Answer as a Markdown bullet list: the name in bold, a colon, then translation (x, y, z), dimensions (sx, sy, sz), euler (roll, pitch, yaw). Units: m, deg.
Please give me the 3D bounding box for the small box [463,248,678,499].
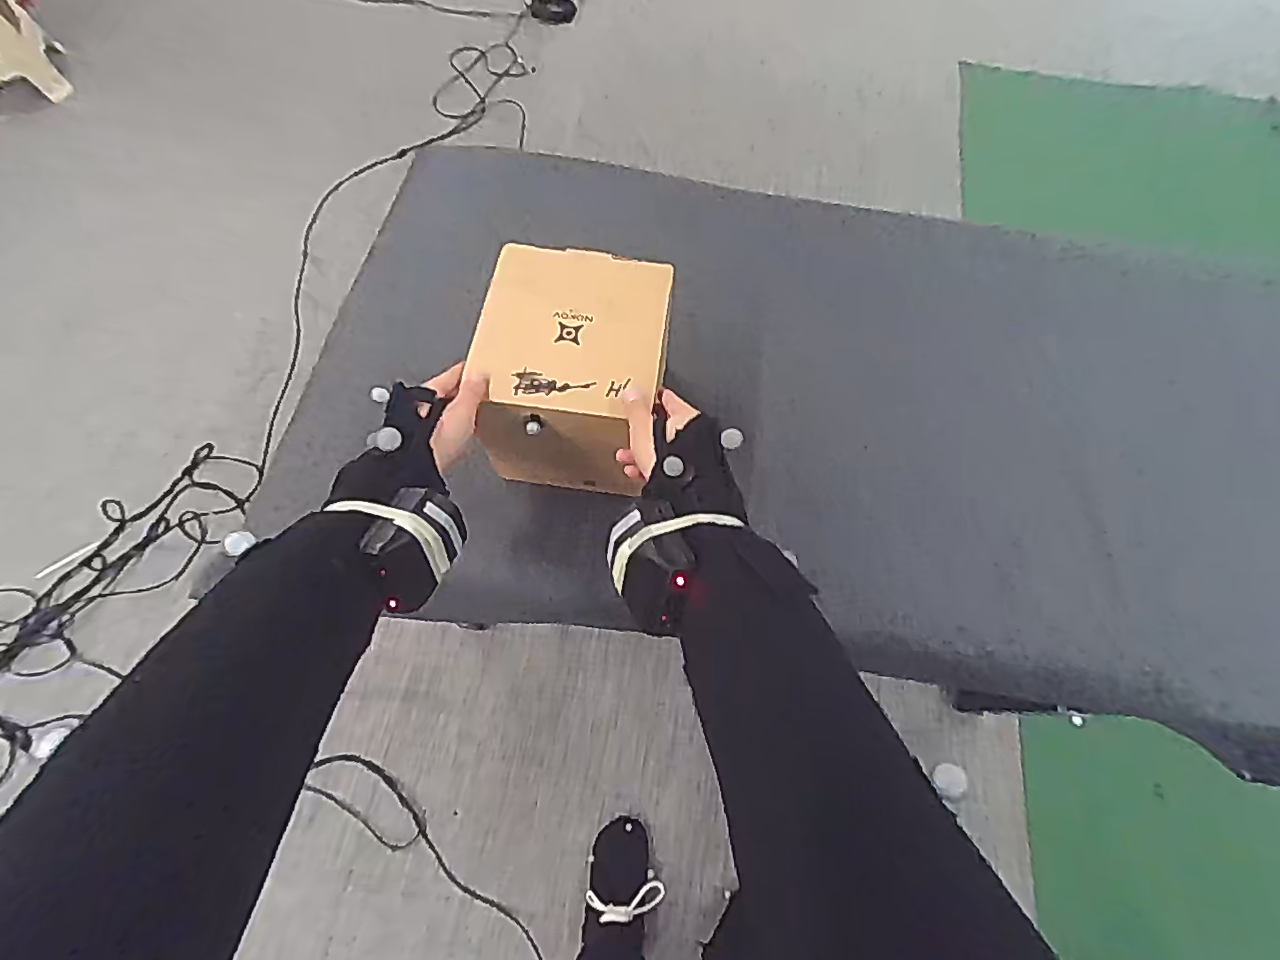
- **small box**: translation (-0.060, -0.100, 0.555), dimensions (0.168, 0.176, 0.179), euler (8, 67, 2)
